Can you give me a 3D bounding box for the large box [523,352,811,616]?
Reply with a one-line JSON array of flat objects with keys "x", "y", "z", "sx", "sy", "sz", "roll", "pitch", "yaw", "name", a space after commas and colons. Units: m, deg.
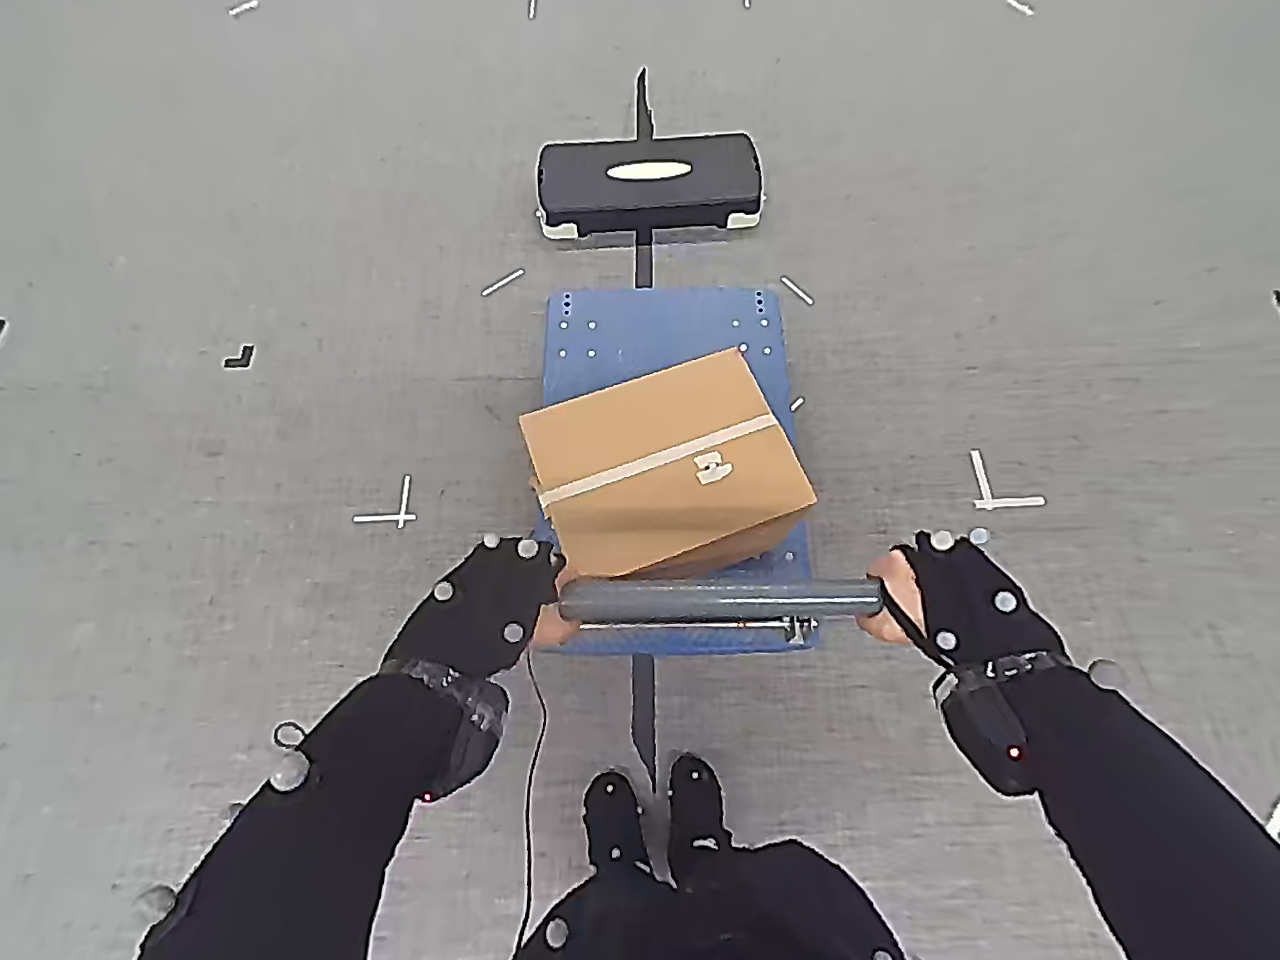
[{"x": 0.036, "y": 0.024, "z": 1.023, "sx": 0.408, "sy": 0.320, "sz": 0.320, "roll": -19, "pitch": 71, "yaw": -8, "name": "large box"}]
